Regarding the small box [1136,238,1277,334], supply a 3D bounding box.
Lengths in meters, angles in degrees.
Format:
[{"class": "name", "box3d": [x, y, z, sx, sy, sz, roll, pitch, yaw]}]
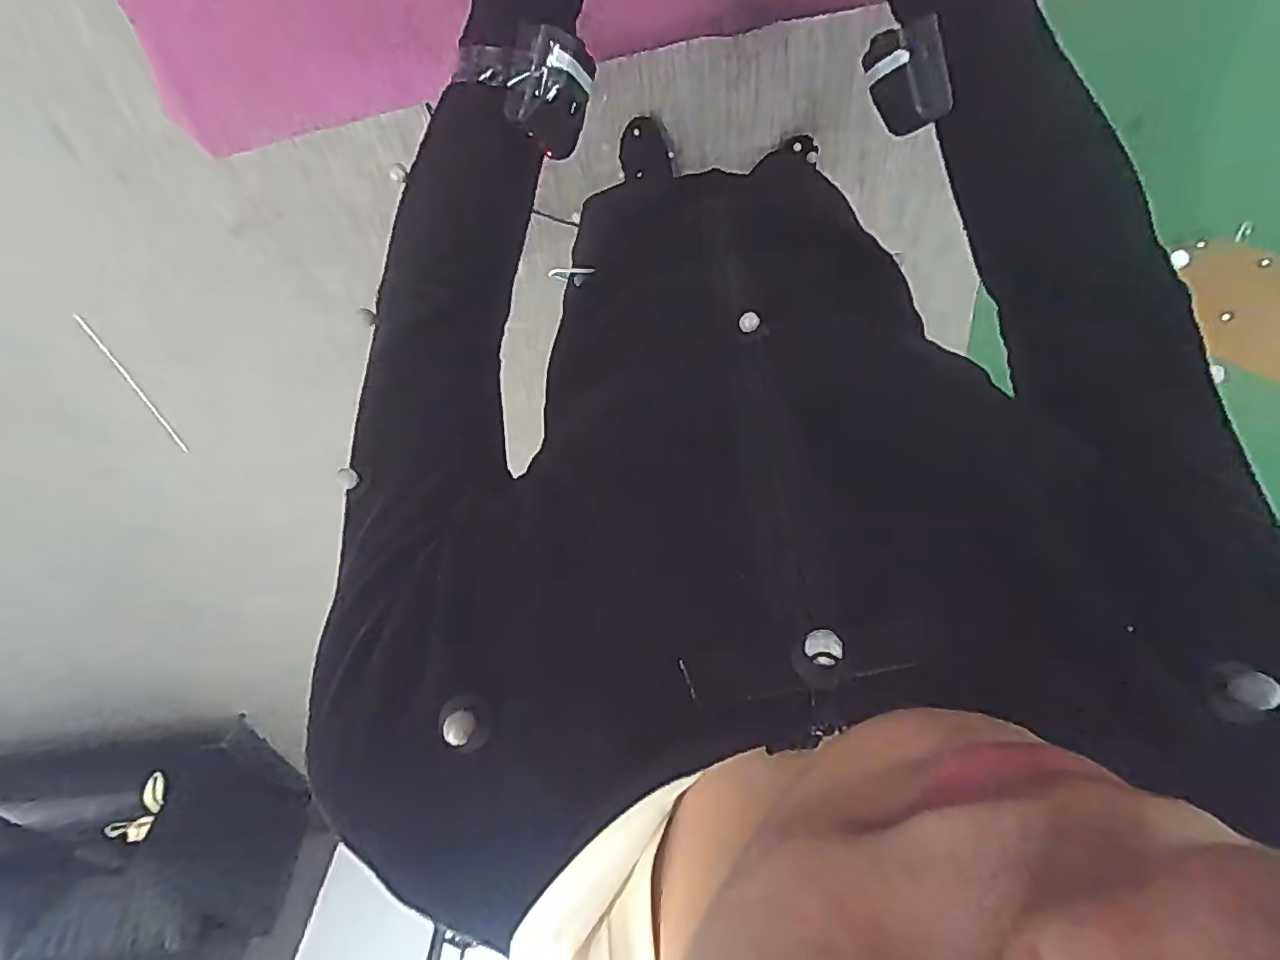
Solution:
[{"class": "small box", "box3d": [1.463, -0.508, 1.416, 0.168, 0.176, 0.179, -10, 127, 7]}]

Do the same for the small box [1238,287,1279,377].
[{"class": "small box", "box3d": [1.461, -0.317, 1.152, 0.168, 0.176, 0.179, -10, 127, 8]}]

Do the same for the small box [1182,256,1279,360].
[{"class": "small box", "box3d": [1.463, -0.410, 1.287, 0.168, 0.176, 0.179, -8, 126, 6]}]
